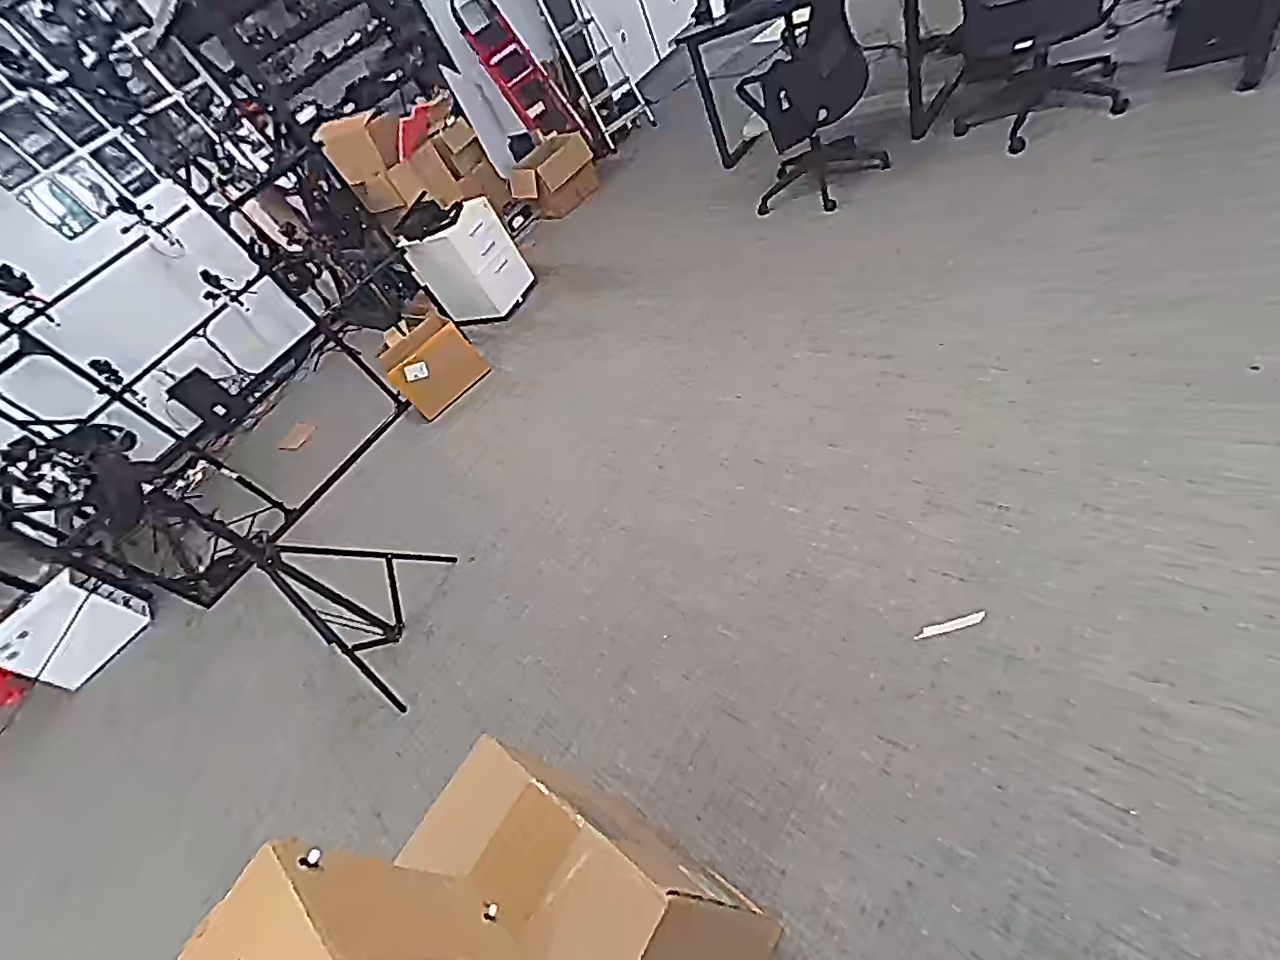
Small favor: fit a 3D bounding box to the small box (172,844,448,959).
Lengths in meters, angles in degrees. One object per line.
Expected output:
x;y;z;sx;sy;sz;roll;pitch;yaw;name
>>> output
-0.318;0.485;0.508;0.179;0.176;0.168;14;60;39;small box
